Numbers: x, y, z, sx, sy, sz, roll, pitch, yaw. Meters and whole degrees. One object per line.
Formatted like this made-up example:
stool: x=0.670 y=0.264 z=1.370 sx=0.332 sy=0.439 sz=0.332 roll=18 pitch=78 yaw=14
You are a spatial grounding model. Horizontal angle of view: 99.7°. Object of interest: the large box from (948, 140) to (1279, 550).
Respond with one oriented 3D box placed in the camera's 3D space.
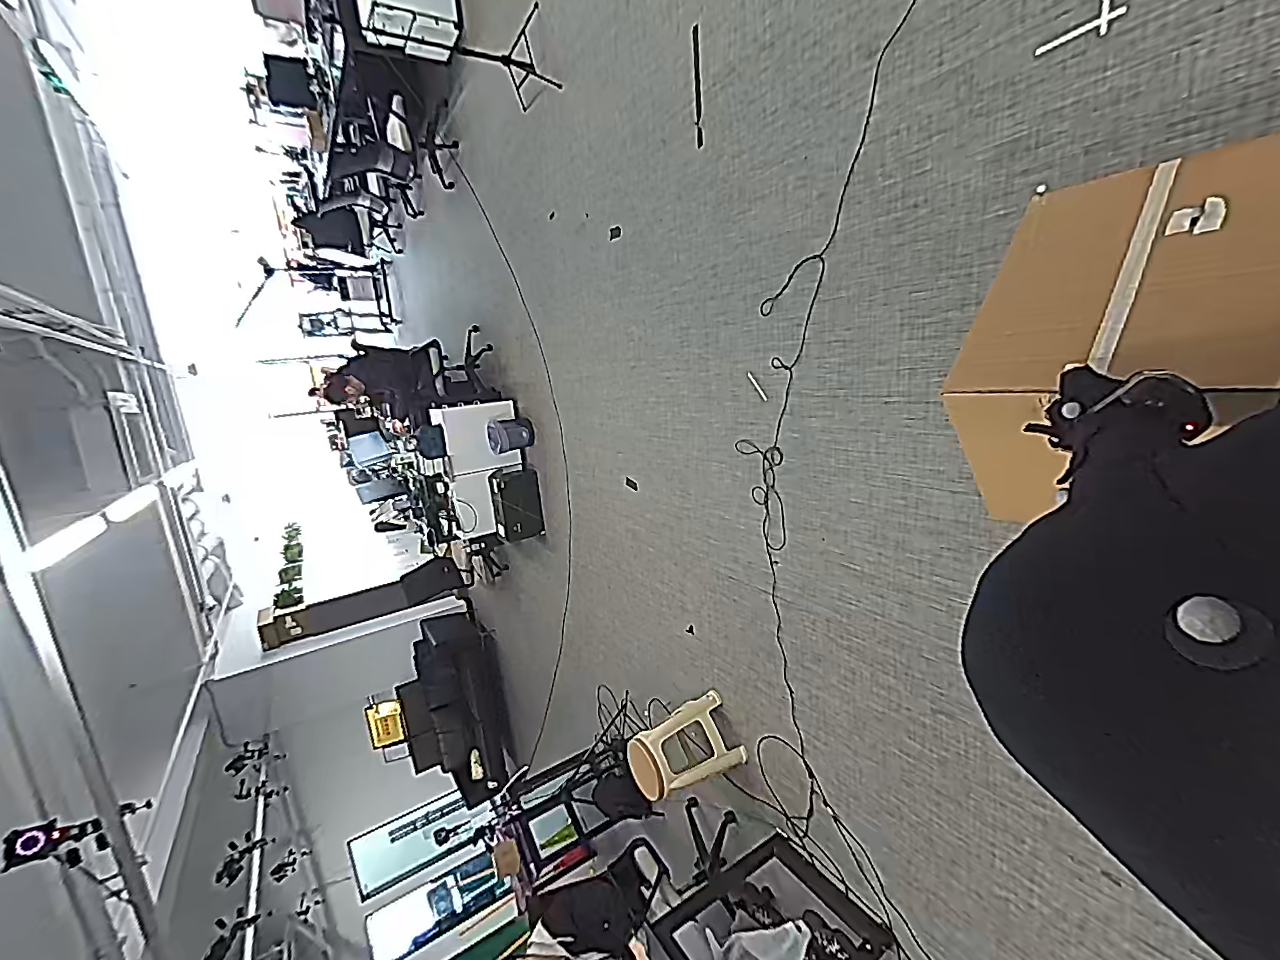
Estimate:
large box: x=0.696 y=-0.169 z=0.748 sx=0.320 sy=0.408 sz=0.320 roll=12 pitch=153 yaw=52
